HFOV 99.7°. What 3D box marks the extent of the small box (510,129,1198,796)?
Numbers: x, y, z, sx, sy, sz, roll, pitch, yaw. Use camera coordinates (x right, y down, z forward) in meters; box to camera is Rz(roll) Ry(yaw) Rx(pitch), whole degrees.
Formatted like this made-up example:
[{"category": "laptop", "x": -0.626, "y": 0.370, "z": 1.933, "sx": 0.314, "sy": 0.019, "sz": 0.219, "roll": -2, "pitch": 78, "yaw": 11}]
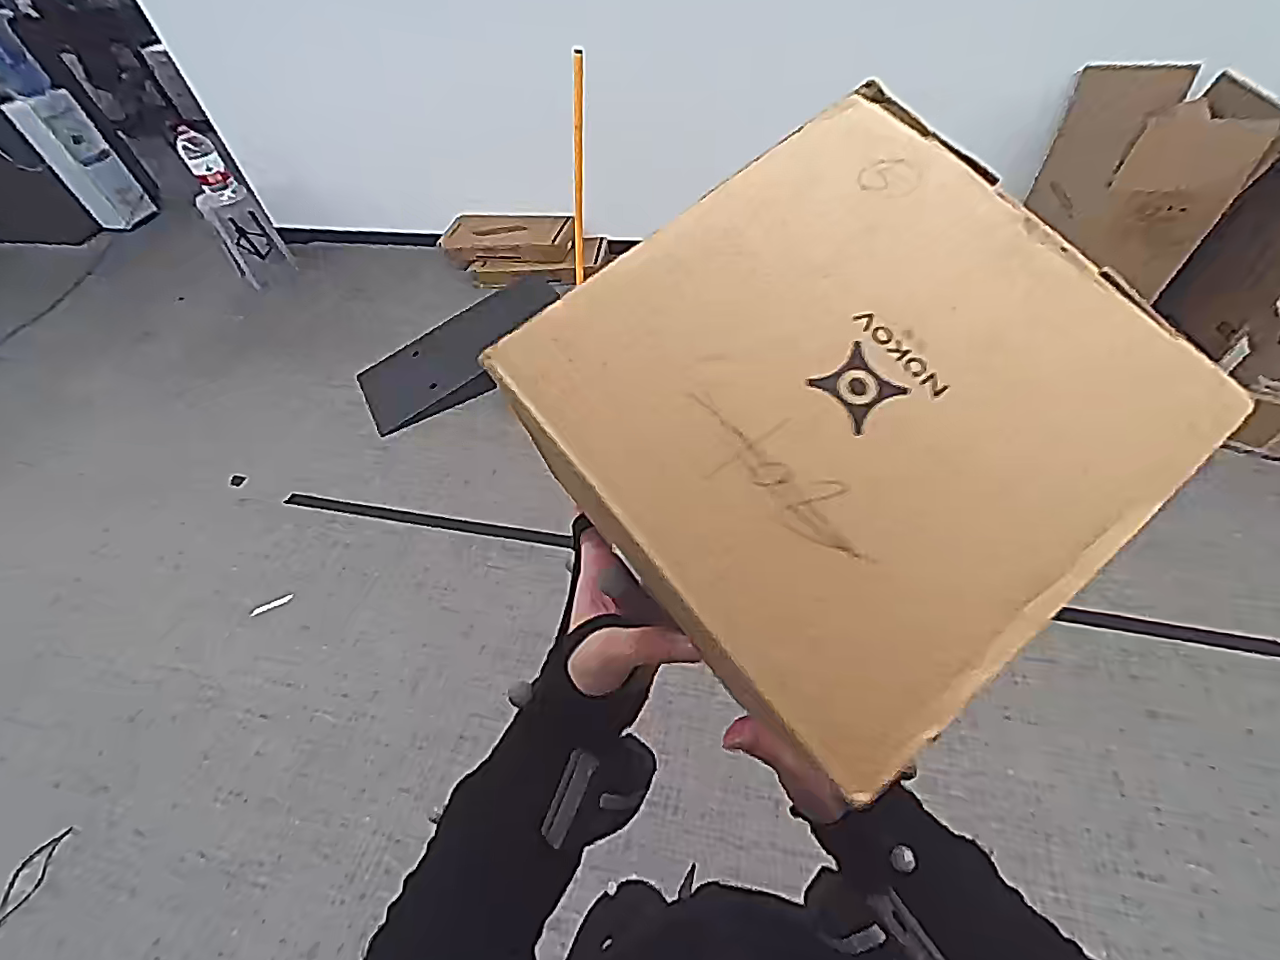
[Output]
[{"category": "small box", "x": 0.070, "y": -0.004, "z": 0.257, "sx": 0.179, "sy": 0.176, "sz": 0.168, "roll": -40, "pitch": 79, "yaw": -10}]
